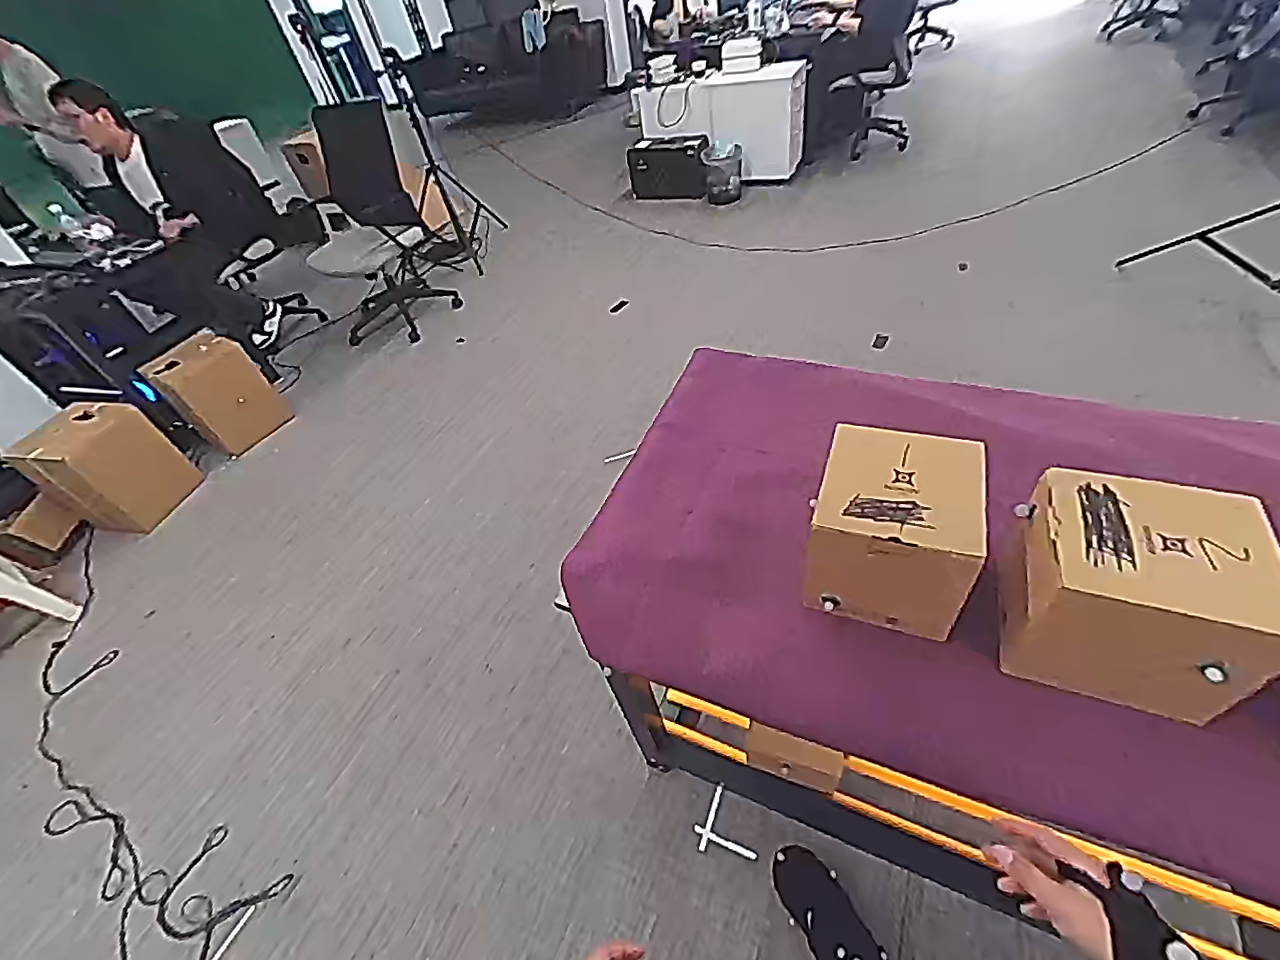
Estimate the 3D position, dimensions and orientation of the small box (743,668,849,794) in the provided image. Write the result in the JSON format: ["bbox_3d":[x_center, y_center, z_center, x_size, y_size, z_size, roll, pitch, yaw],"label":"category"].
[{"bbox_3d":[0.314,0.509,1.092,0.179,0.176,0.168,8,51,21],"label":"small box"}]
